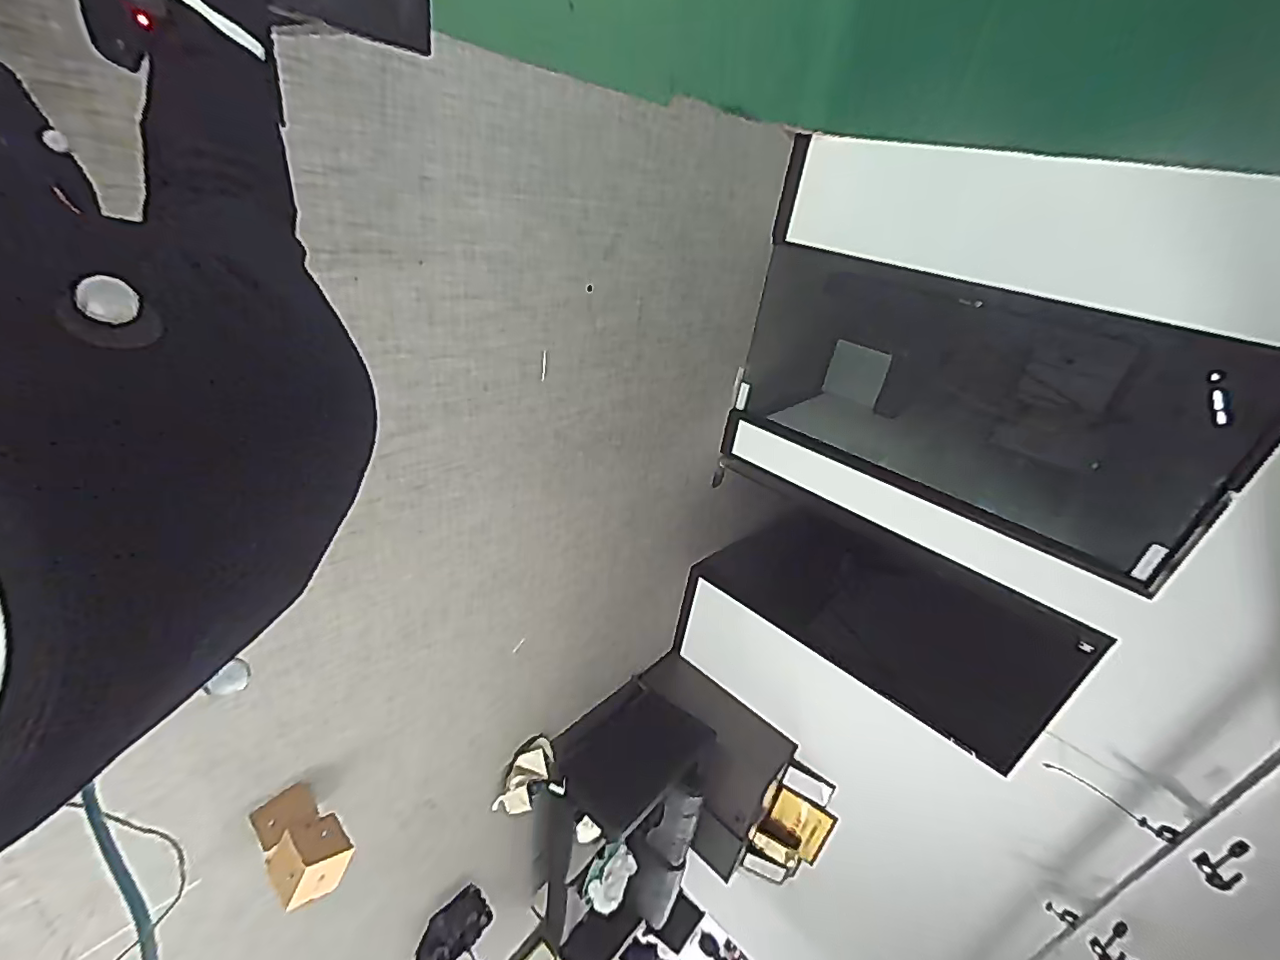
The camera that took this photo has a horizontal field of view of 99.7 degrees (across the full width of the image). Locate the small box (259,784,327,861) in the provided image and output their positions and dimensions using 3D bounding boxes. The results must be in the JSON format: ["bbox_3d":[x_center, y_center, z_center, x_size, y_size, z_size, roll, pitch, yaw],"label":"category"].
[{"bbox_3d":[-1.227,1.238,1.927,0.179,0.176,0.168,-29,137,-41],"label":"small box"}]

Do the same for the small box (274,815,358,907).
[{"bbox_3d":[-1.111,1.285,1.845,0.168,0.176,0.179,19,100,-57],"label":"small box"}]
